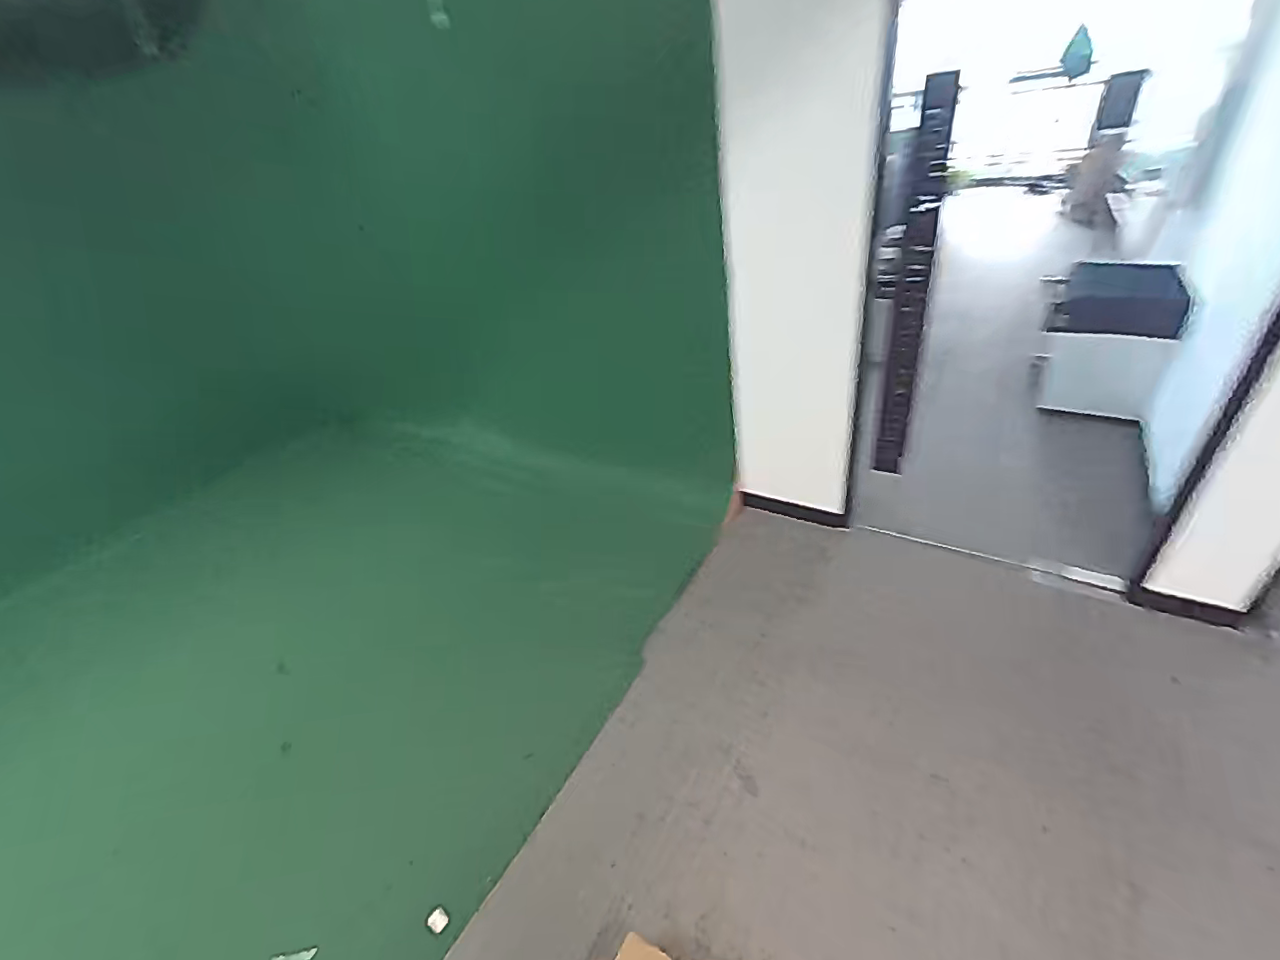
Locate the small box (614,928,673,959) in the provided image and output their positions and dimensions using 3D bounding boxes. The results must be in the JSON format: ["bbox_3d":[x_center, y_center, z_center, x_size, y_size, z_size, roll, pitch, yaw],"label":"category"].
[{"bbox_3d":[0.014,1.107,1.132,0.168,0.176,0.179,15,43,30],"label":"small box"}]
